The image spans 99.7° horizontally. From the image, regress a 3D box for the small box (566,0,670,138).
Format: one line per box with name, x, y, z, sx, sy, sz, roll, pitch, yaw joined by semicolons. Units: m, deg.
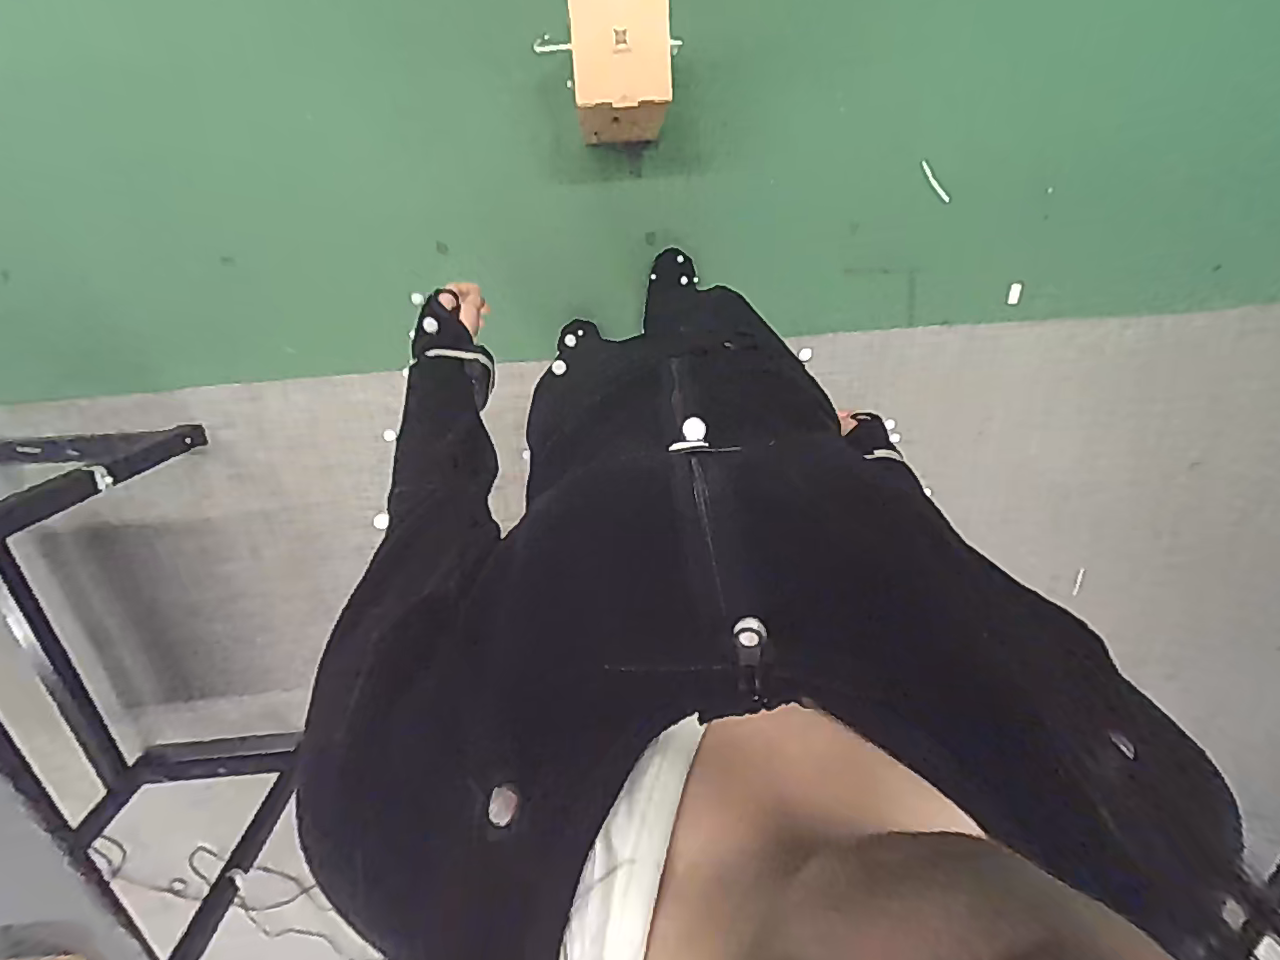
small box;-0.042;-0.735;0.966;0.168;0.176;0.179;-5;112;-4
